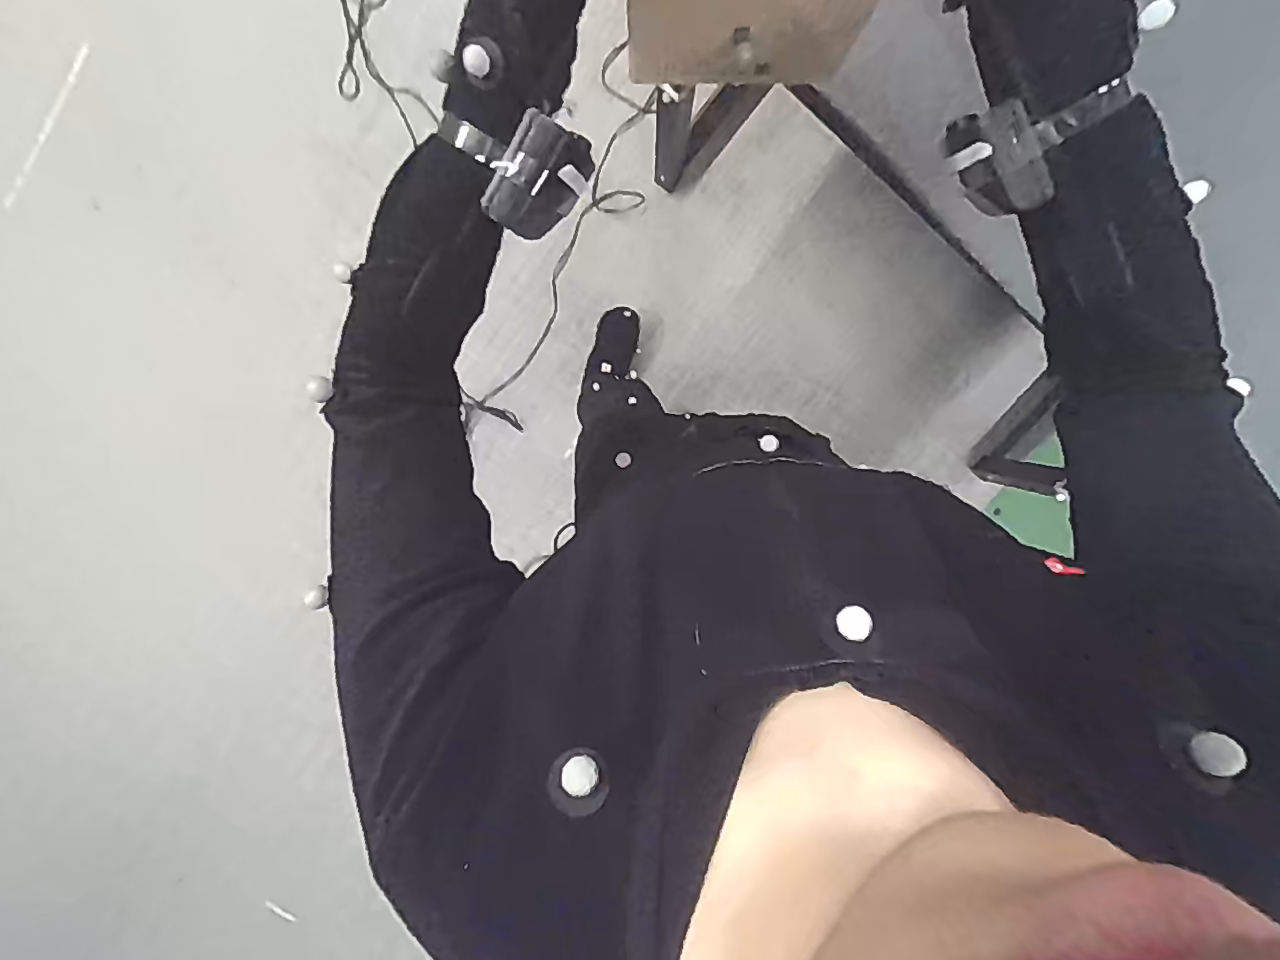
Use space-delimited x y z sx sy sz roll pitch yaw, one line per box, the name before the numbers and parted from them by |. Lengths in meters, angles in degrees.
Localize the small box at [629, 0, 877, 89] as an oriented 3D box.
small box | 0.077 -0.398 0.349 0.168 0.176 0.179 1 97 0
